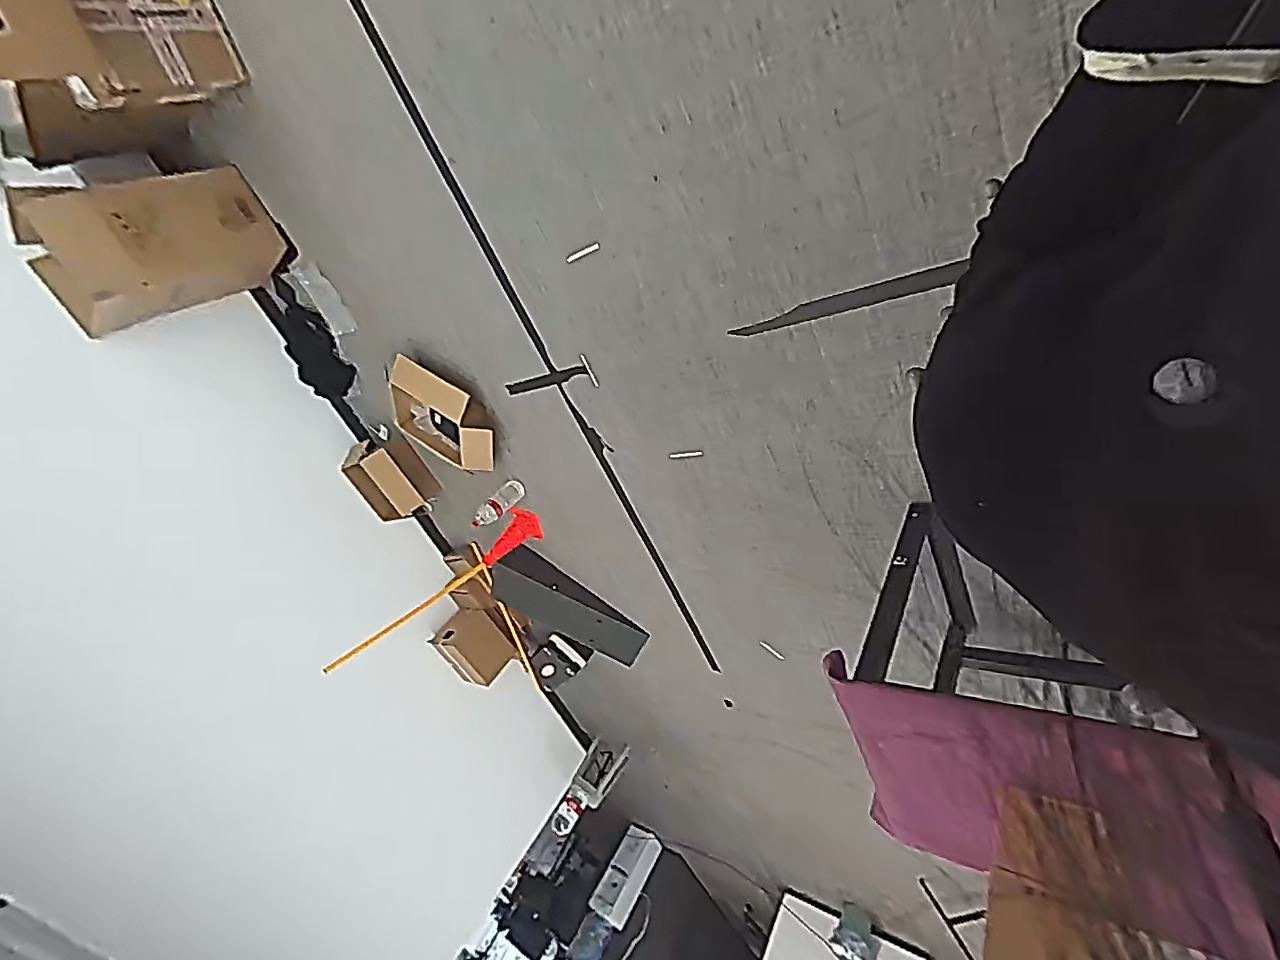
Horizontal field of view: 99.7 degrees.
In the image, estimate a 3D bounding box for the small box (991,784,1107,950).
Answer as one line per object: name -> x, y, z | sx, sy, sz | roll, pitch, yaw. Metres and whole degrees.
small box -> 0.778, 0.726, 1.031 | 0.168, 0.176, 0.179 | 2, 126, 38
